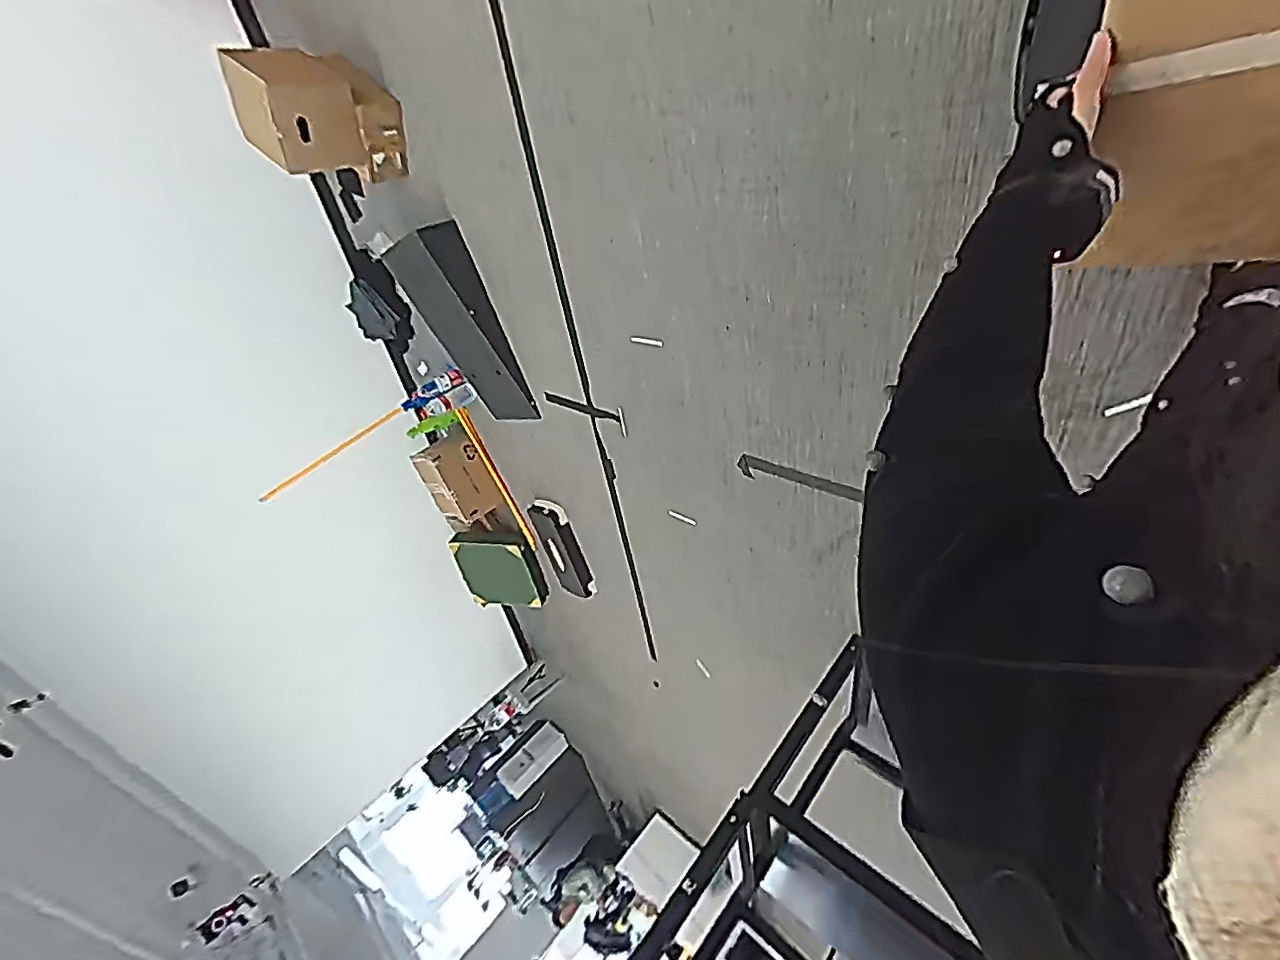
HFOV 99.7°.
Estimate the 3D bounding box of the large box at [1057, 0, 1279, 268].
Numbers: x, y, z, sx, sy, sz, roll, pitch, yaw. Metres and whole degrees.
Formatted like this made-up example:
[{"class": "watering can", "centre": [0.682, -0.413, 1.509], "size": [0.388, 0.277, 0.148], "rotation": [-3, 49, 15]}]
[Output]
[{"class": "large box", "centre": [0.631, -0.373, 0.418], "size": [0.408, 0.320, 0.320], "rotation": [19, 133, 42]}]
